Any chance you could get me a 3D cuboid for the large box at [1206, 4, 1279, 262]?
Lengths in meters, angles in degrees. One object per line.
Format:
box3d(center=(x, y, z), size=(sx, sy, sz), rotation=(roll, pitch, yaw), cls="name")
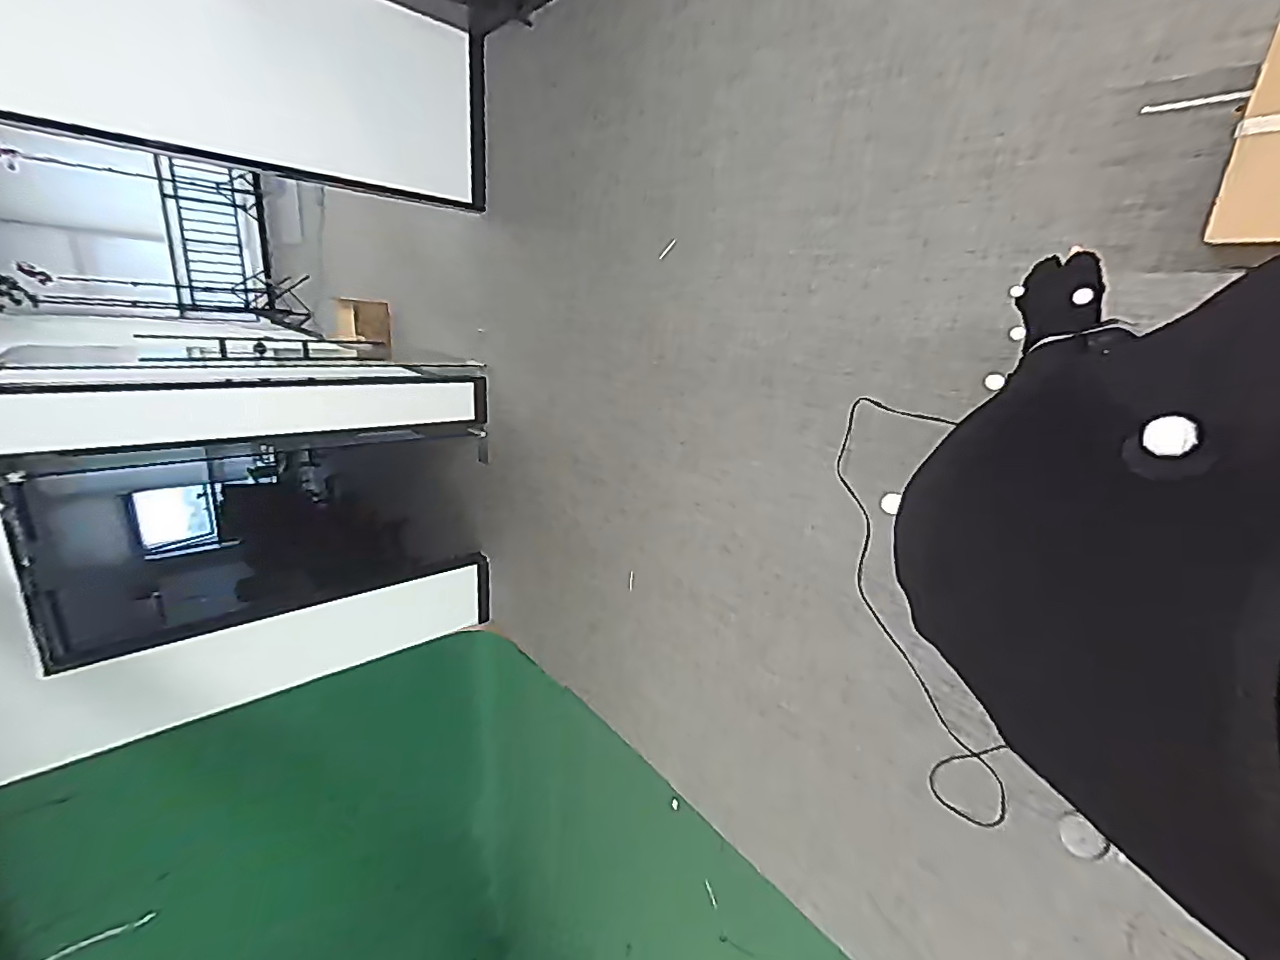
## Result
box3d(center=(1.108, -0.488, 0.739), size=(0.408, 0.320, 0.320), rotation=(22, 114, 44), cls="large box")
